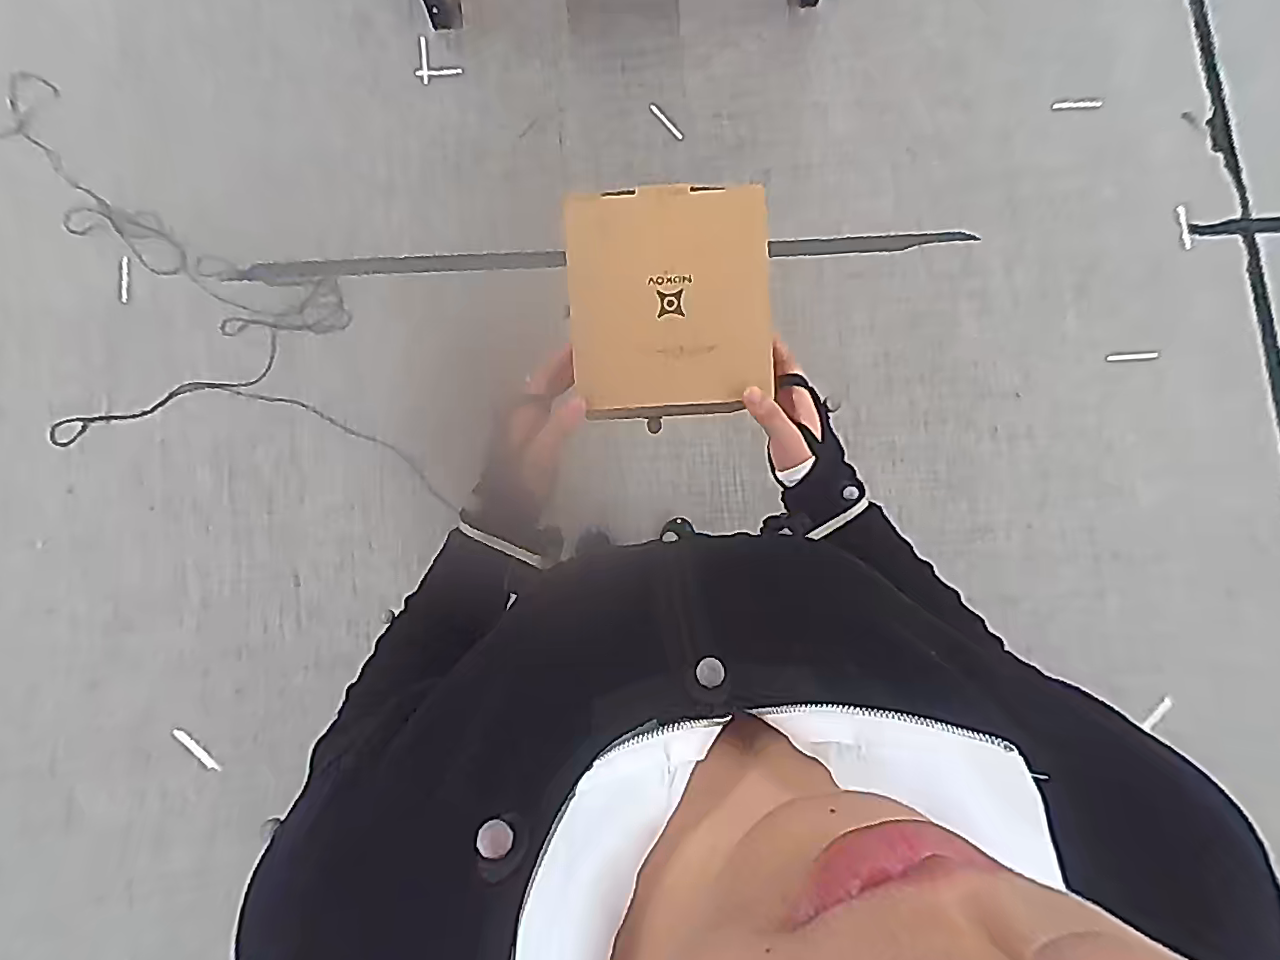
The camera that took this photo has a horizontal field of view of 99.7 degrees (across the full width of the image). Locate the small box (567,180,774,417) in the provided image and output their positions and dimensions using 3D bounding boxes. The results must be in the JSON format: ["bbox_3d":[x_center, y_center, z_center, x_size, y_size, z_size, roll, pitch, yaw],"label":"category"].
[{"bbox_3d":[0.023,-0.157,0.520,0.168,0.176,0.179,-4,93,-1],"label":"small box"}]
